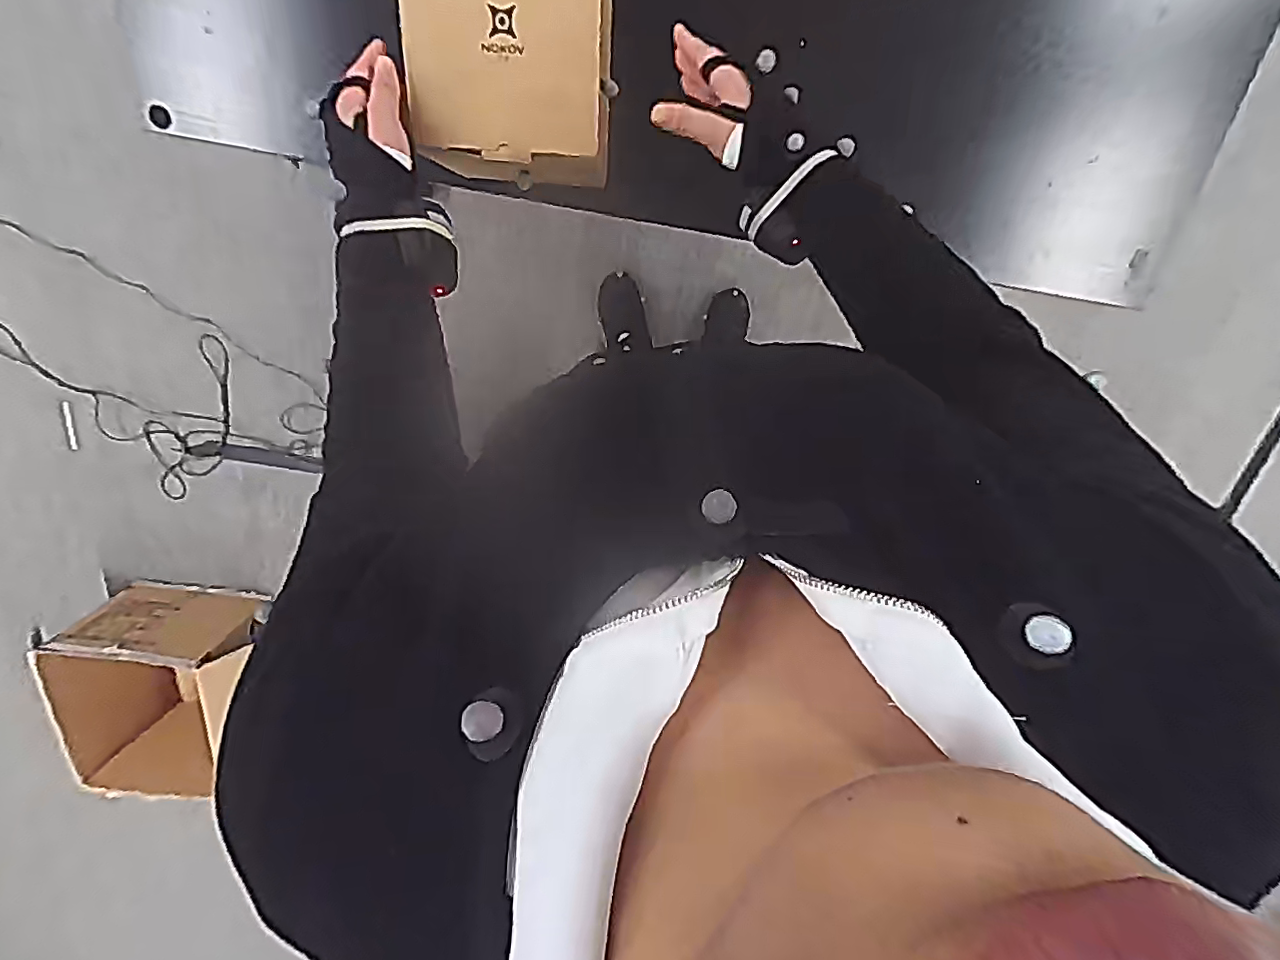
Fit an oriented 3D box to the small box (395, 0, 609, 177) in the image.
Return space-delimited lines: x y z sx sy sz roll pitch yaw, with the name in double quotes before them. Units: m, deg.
"small box" -0.118 -0.403 0.520 0.168 0.176 0.179 3 112 -1
